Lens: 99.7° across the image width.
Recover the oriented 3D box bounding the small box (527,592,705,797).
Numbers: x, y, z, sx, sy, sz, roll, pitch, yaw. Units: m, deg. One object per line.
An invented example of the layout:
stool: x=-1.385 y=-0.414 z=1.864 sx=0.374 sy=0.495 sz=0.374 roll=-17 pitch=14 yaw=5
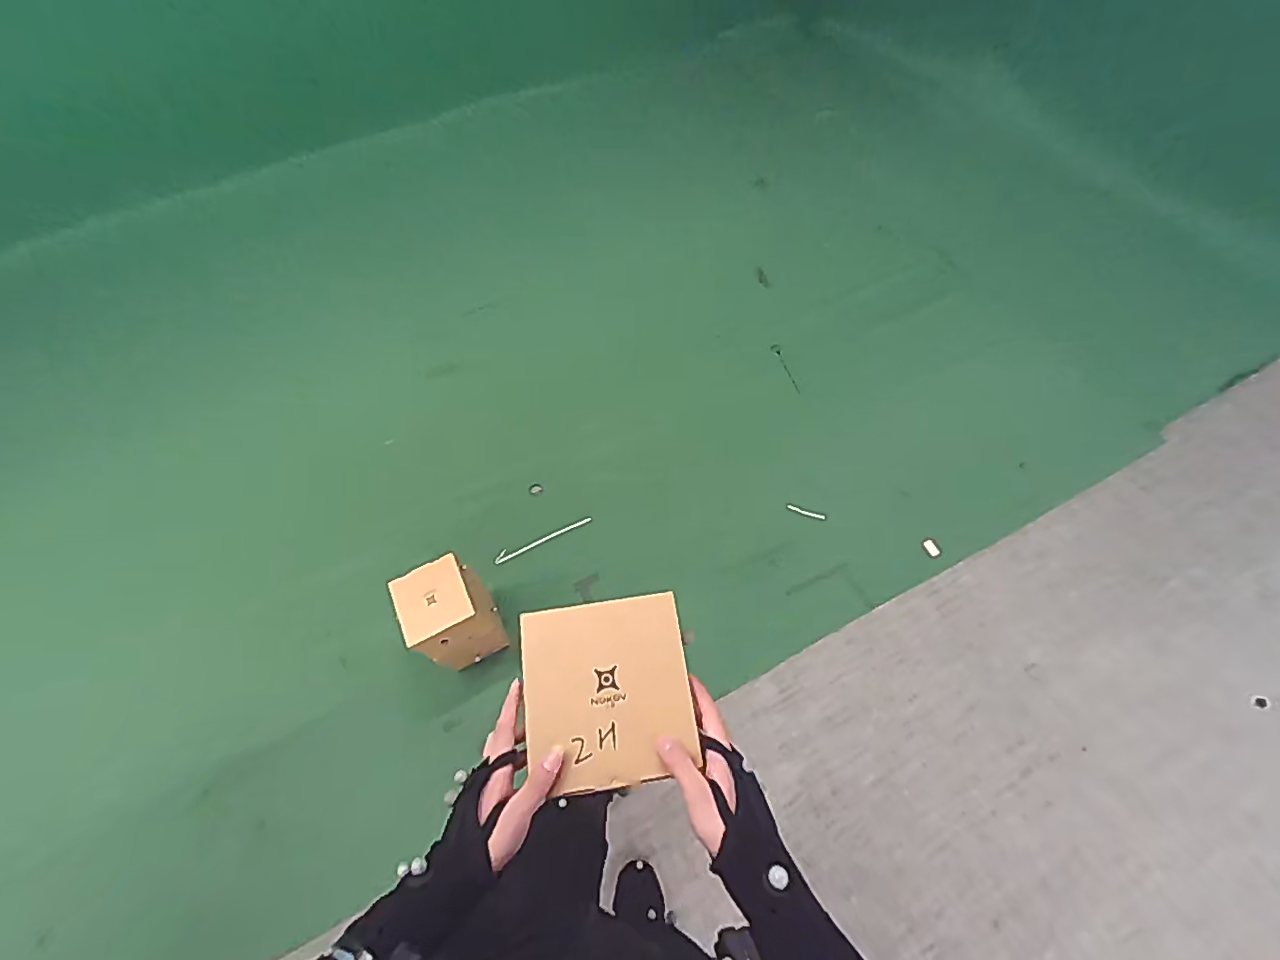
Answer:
small box: x=-0.028 y=0.240 z=0.608 sx=0.168 sy=0.176 sz=0.179 roll=-8 pitch=65 yaw=-2

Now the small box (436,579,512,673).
small box: x=-0.472 y=0.404 z=1.477 sx=0.168 sy=0.176 sz=0.179 roll=-26 pitch=64 yaw=-10

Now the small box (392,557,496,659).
small box: x=-0.477 y=0.325 z=1.337 sx=0.168 sy=0.176 sz=0.179 roll=-26 pitch=62 yaw=-10
